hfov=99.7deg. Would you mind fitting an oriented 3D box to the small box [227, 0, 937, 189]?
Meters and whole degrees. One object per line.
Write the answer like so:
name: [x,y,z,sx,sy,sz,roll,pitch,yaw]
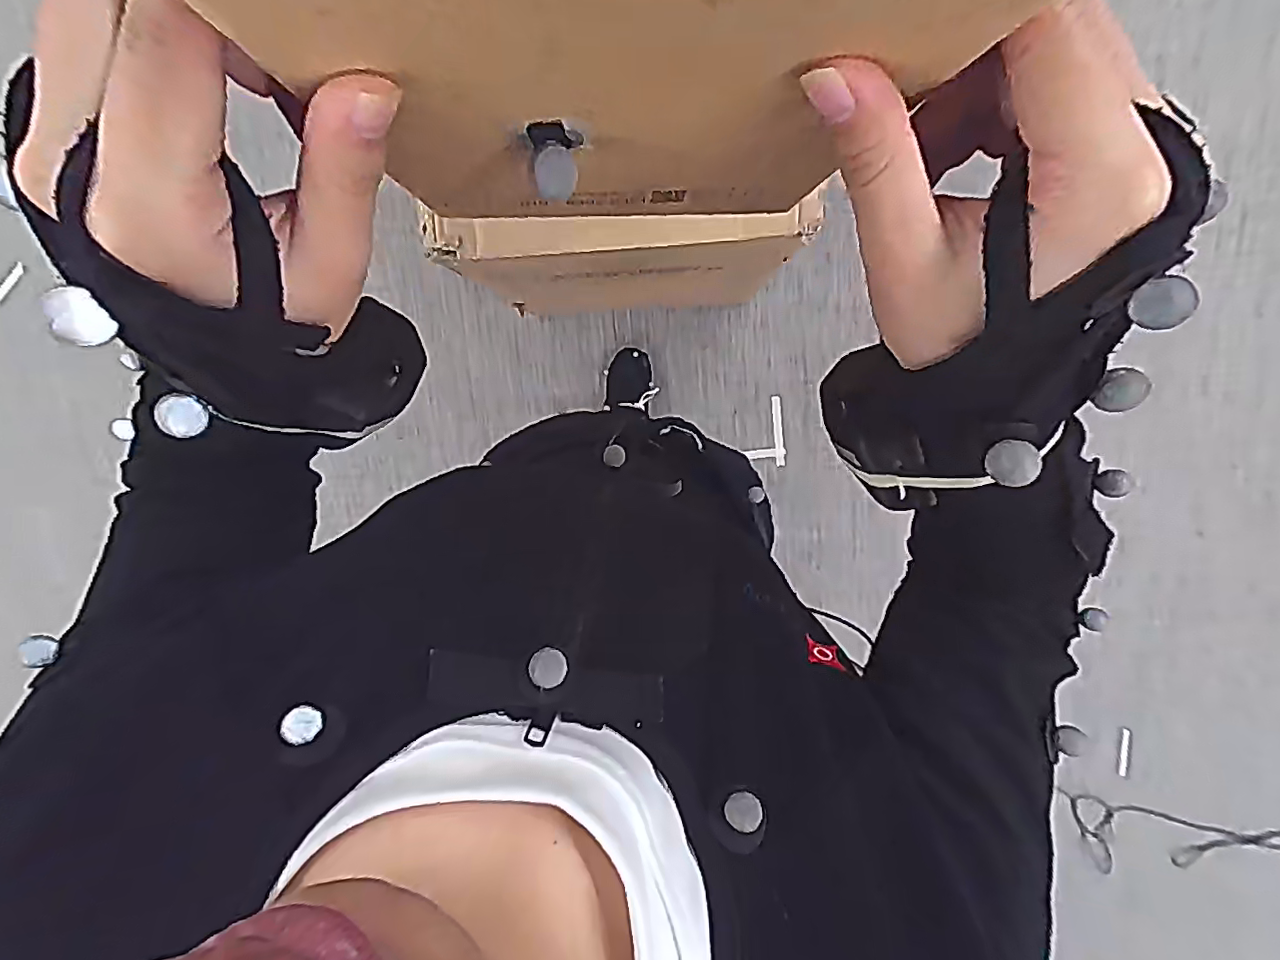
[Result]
small box: [-0.008,-0.195,0.150,0.168,0.176,0.179,-3,102,-3]
